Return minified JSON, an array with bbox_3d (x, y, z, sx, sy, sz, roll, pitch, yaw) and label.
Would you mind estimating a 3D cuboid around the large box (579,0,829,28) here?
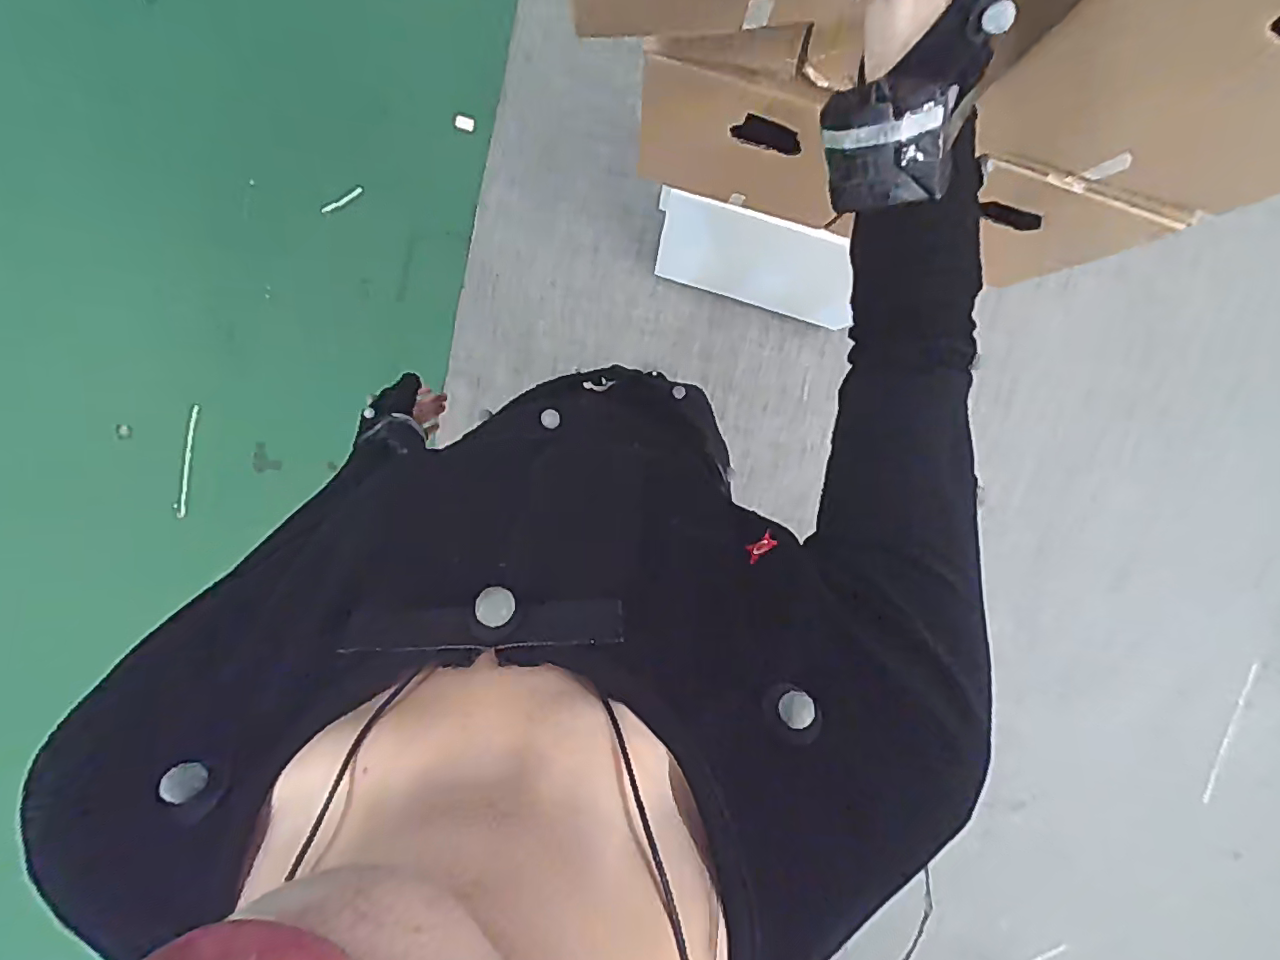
[{"bbox_3d":[0.087,-0.535,0.252,0.320,0.320,0.408,-7,107,-3],"label":"large box"}]
